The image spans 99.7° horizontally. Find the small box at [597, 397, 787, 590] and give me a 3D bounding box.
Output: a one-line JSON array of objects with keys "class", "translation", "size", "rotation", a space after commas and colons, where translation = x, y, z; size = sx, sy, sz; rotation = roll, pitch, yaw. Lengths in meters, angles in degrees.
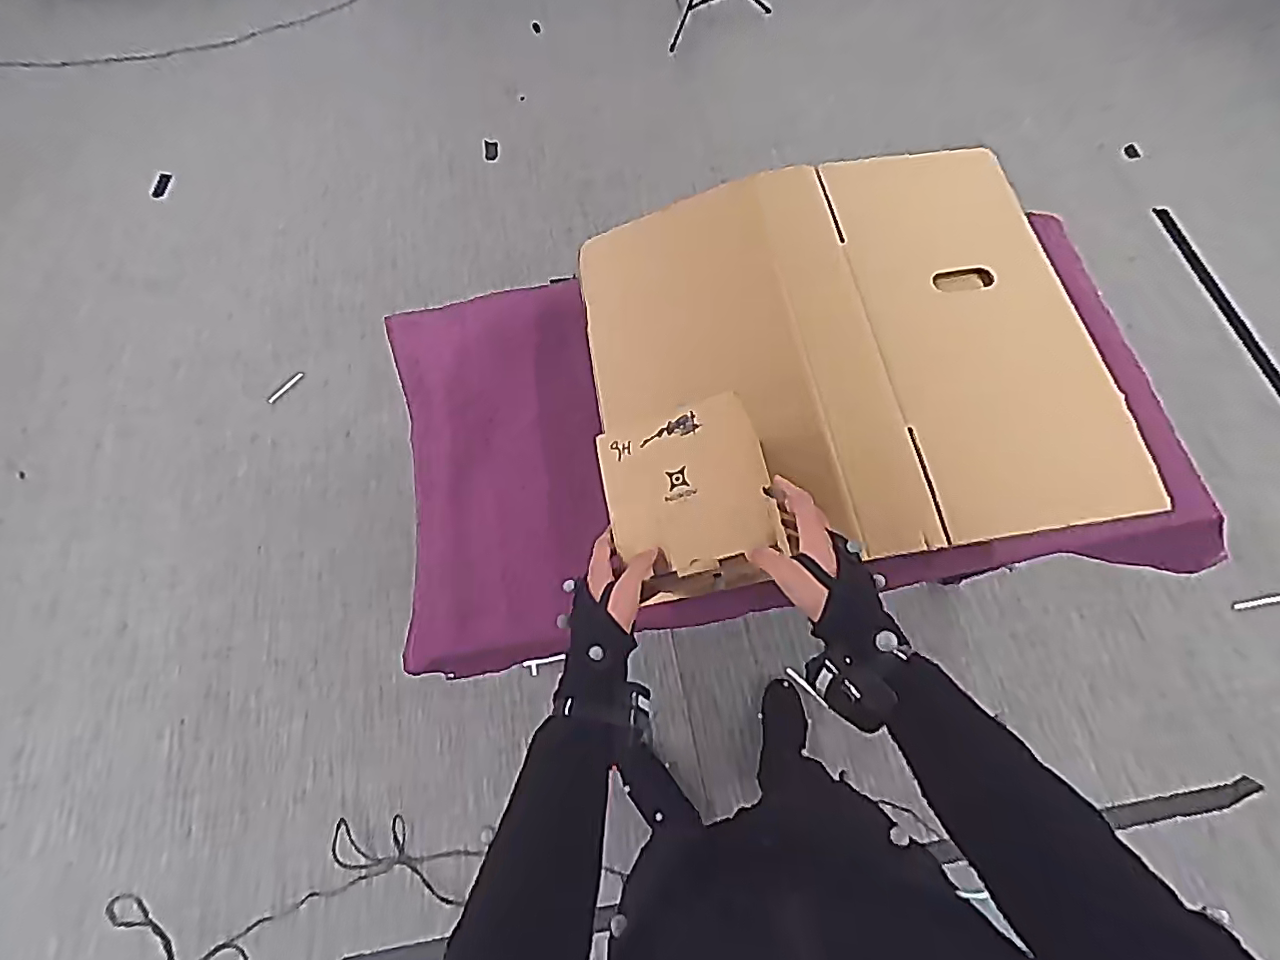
[{"class": "small box", "translation": [0.069, 0.029, 0.646], "size": [0.168, 0.176, 0.179], "rotation": [-17, 71, 16]}]
